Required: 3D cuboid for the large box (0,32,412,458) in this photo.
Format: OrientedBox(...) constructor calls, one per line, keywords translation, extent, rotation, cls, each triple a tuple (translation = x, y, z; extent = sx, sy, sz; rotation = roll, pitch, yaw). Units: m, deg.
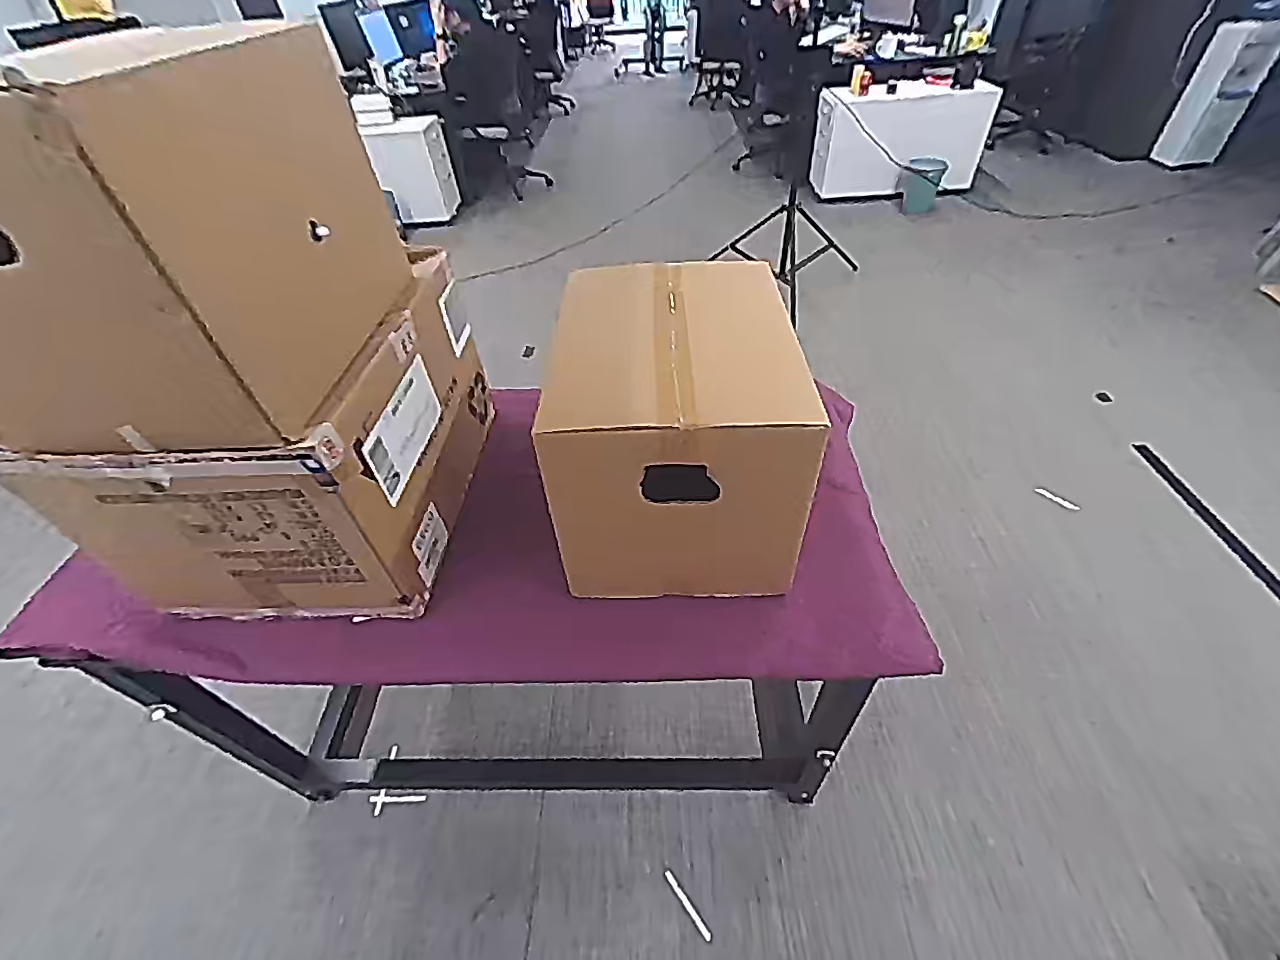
OrientedBox(translation=(-0.509, -0.275, 0.612), extent=(0.320, 0.320, 0.408), rotation=(-3, 45, 4), cls="large box")
